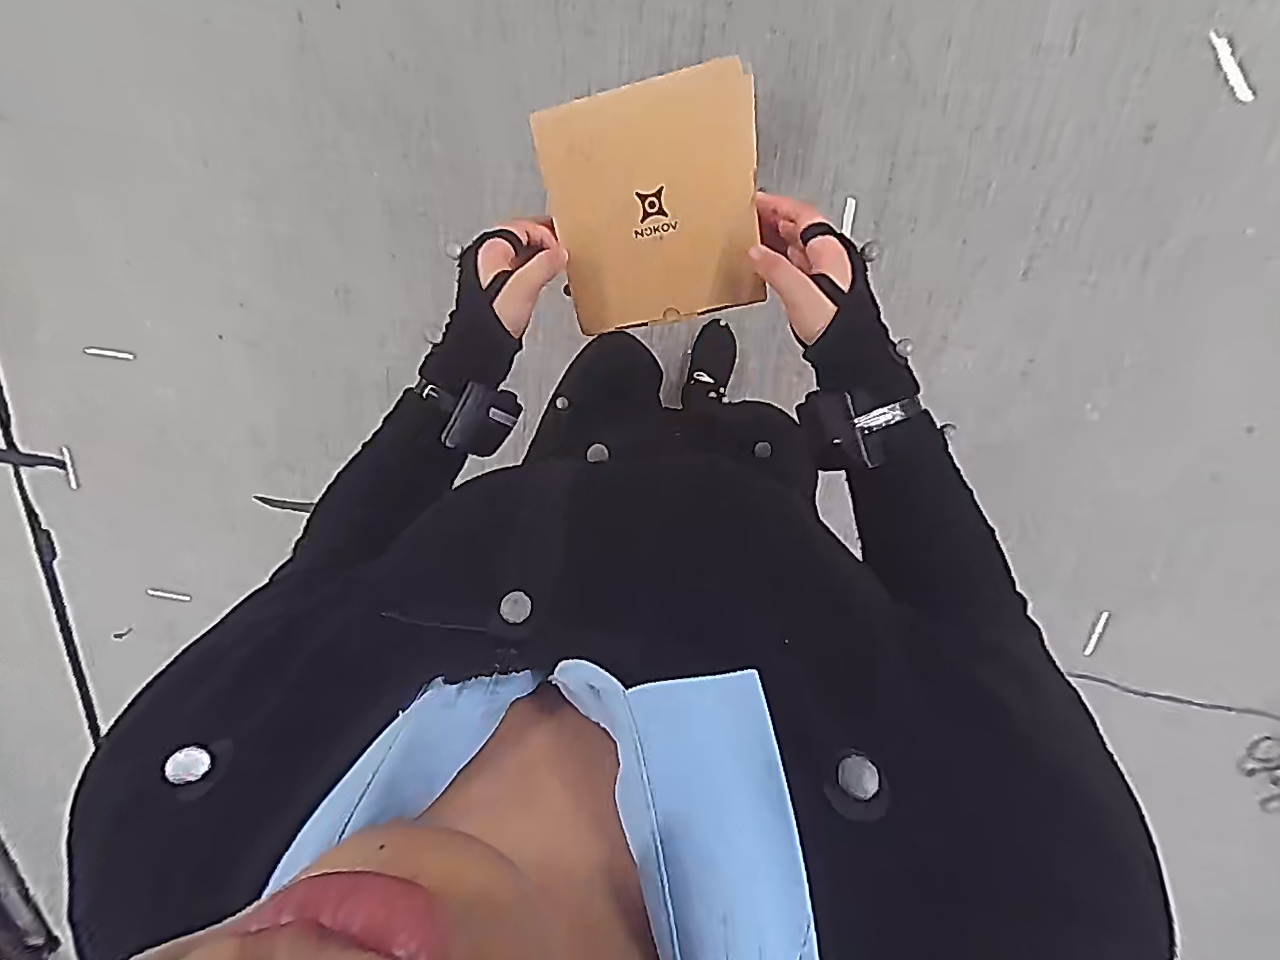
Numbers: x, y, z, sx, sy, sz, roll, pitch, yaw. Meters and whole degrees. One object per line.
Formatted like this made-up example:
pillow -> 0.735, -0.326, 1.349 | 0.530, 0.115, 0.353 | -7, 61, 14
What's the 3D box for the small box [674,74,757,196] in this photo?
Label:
small box -> 0.162, -0.736, 1.173 | 0.168, 0.176, 0.179 | -3, 107, 8
